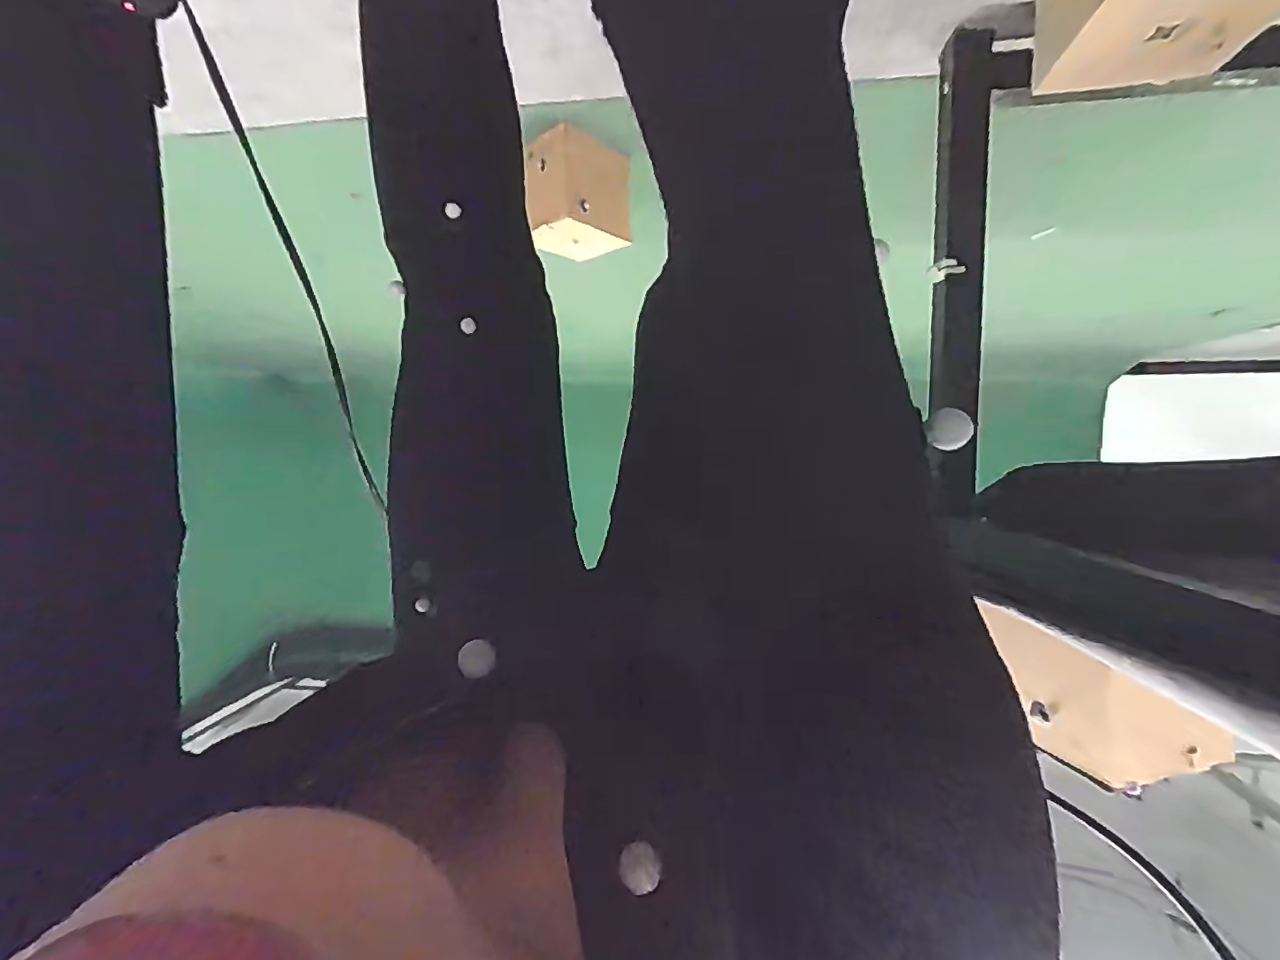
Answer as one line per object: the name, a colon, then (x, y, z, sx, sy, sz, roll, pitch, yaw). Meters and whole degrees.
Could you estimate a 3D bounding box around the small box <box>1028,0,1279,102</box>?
small box: (0.514, -0.512, 0.522, 0.179, 0.176, 0.168, 1, -176, 13)

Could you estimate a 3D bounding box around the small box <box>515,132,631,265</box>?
small box: (-0.130, -0.549, 1.075, 0.168, 0.176, 0.179, 4, -176, 43)
